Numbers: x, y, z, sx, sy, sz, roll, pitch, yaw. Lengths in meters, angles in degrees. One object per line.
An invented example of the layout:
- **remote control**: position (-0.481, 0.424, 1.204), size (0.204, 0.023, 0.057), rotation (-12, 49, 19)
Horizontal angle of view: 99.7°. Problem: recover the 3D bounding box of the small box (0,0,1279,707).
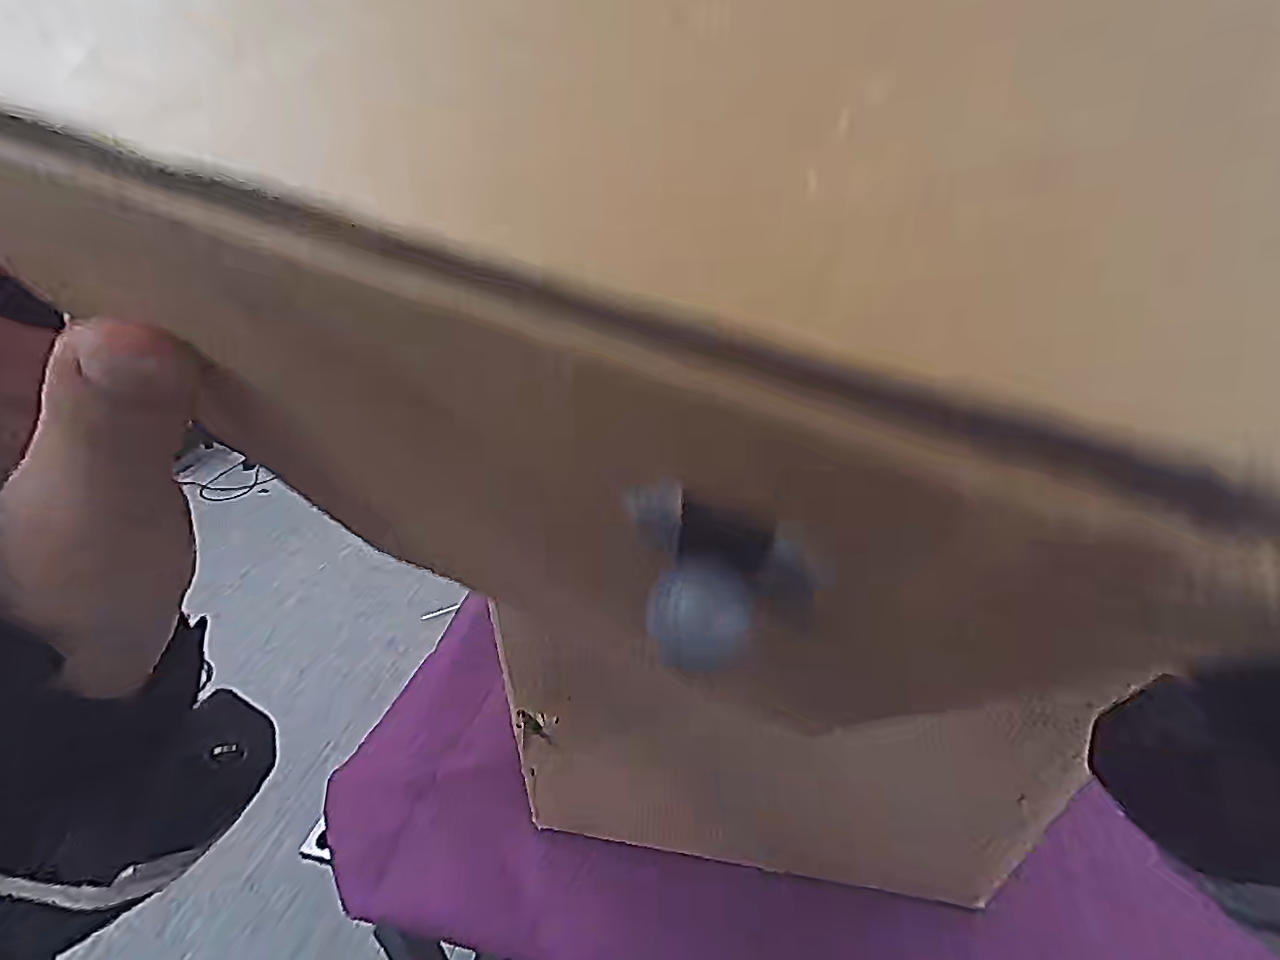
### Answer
- **small box**: position (0.005, -0.051, 0.154), size (0.179, 0.176, 0.168), rotation (20, 65, 12)
